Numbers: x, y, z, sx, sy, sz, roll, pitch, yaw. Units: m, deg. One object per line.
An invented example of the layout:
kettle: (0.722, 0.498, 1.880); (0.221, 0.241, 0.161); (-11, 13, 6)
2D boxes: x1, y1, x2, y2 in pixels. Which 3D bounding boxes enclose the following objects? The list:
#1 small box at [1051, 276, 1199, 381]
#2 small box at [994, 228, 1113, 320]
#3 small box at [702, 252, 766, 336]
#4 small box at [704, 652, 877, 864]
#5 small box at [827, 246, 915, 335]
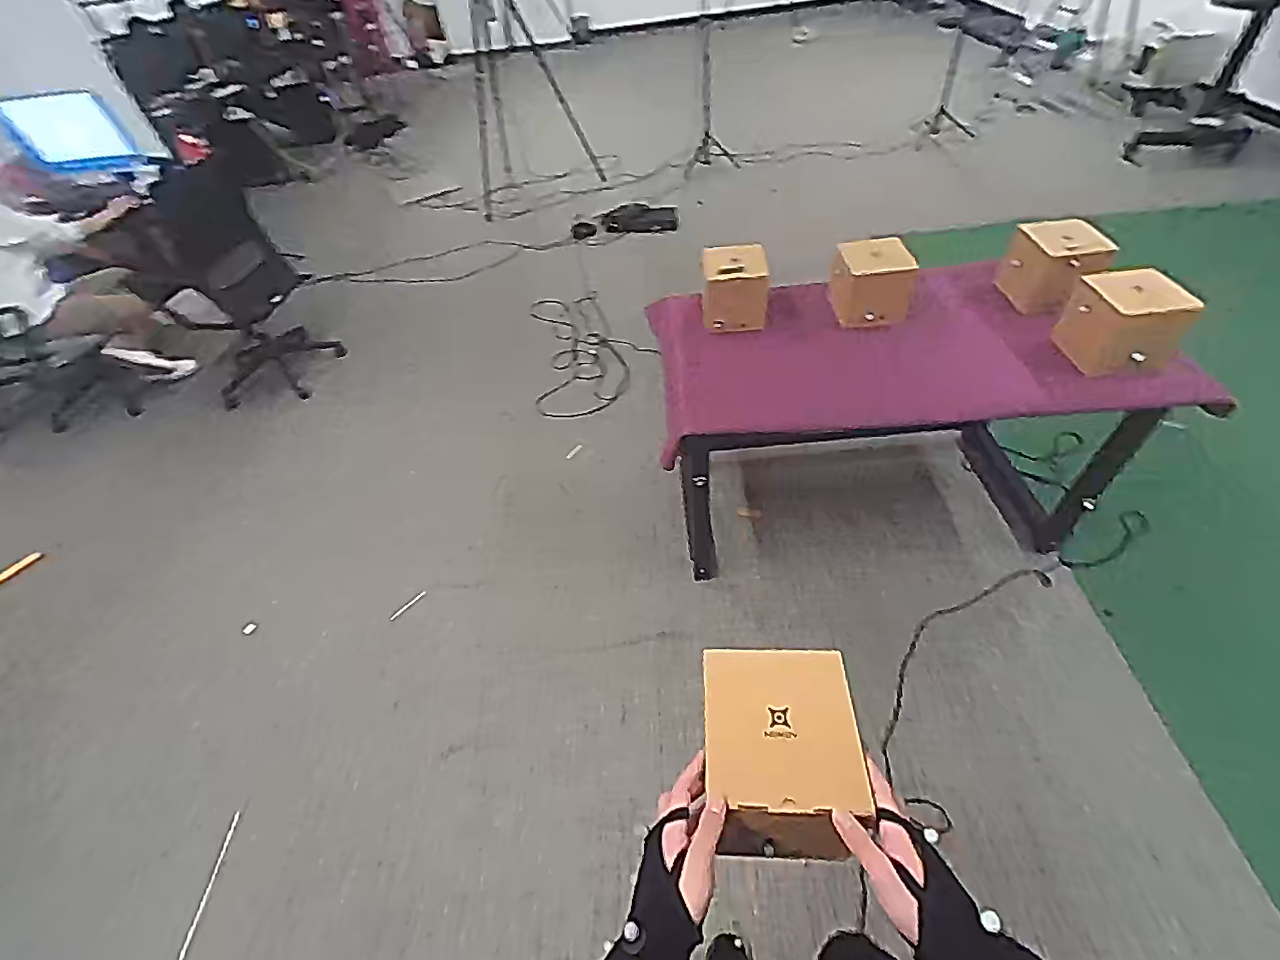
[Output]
small box: (1.117, -0.353, 1.269); (0.168, 0.176, 0.179); (-5, 47, 6)
small box: (1.099, -0.555, 1.459); (0.168, 0.176, 0.179); (-6, 47, 4)
small box: (0.264, -0.524, 1.543); (0.168, 0.176, 0.179); (-2, 49, 5)
small box: (0.161, 0.328, 0.645); (0.168, 0.176, 0.179); (-1, 43, 6)
small box: (0.630, -0.524, 1.499); (0.168, 0.176, 0.179); (-5, 48, 4)
